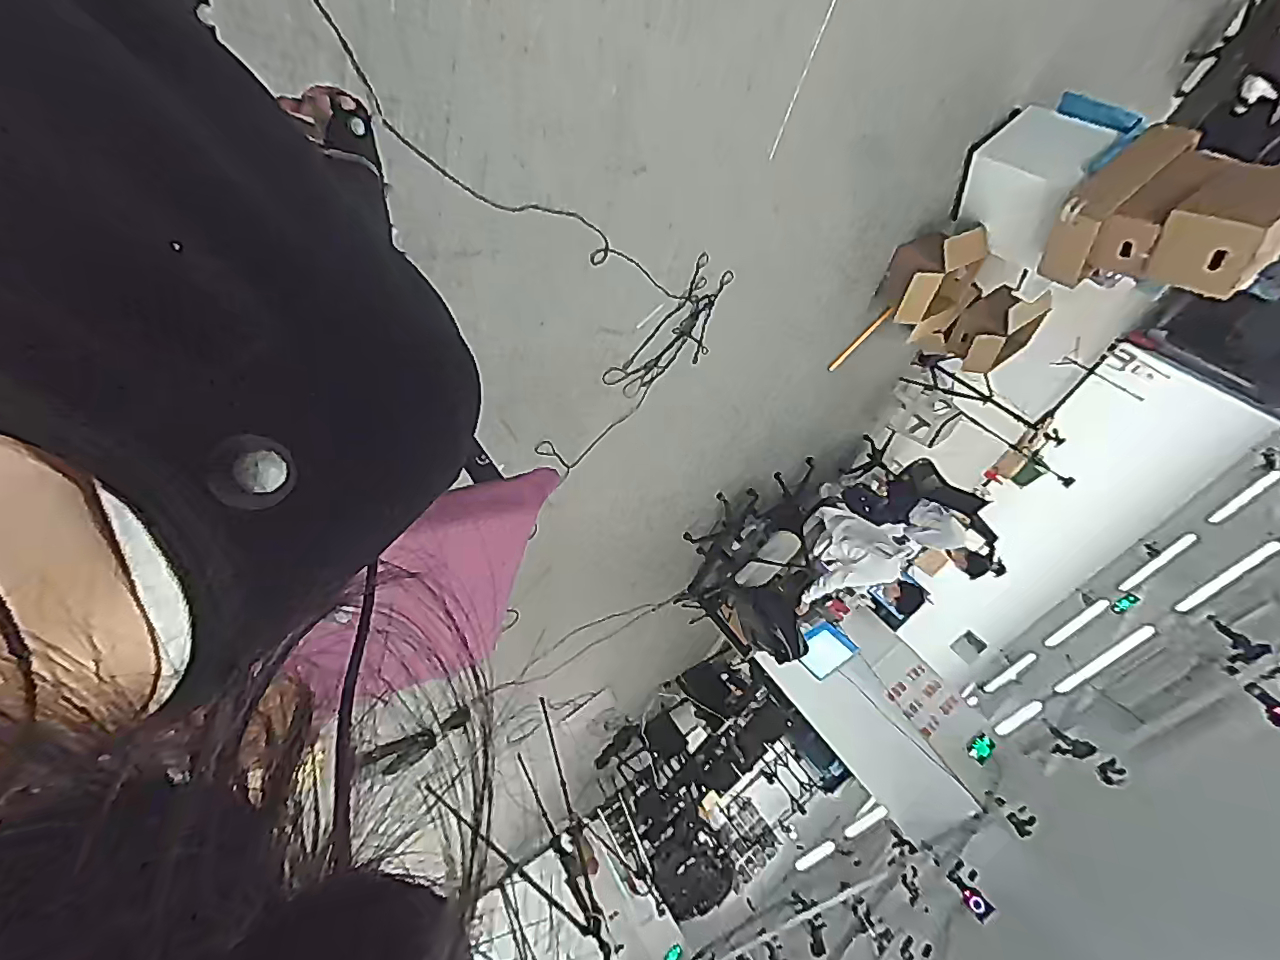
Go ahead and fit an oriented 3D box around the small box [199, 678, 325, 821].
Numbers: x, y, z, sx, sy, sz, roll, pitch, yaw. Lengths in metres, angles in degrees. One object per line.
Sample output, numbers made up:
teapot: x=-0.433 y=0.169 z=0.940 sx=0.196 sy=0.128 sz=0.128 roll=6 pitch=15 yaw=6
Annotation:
small box: x=-0.773 y=0.544 z=1.114 sx=0.179 sy=0.176 sz=0.168 roll=-14 pitch=138 yaw=-41
